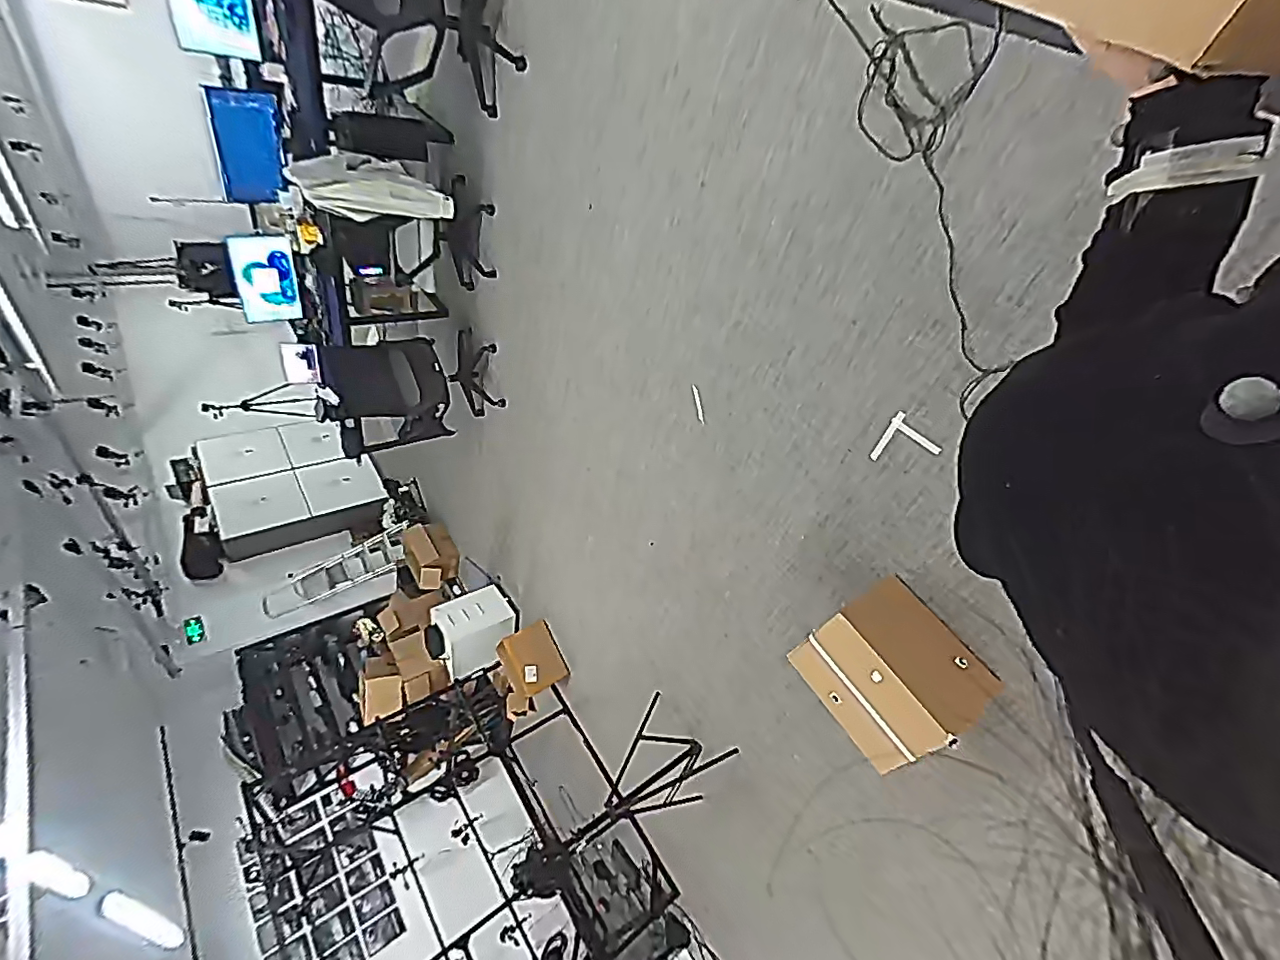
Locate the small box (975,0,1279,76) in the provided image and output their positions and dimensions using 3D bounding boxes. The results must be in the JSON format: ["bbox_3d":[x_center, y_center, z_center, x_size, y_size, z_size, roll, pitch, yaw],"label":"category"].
[{"bbox_3d":[0.280,-0.314,0.248,0.179,0.176,0.168,57,153,31],"label":"small box"}]
